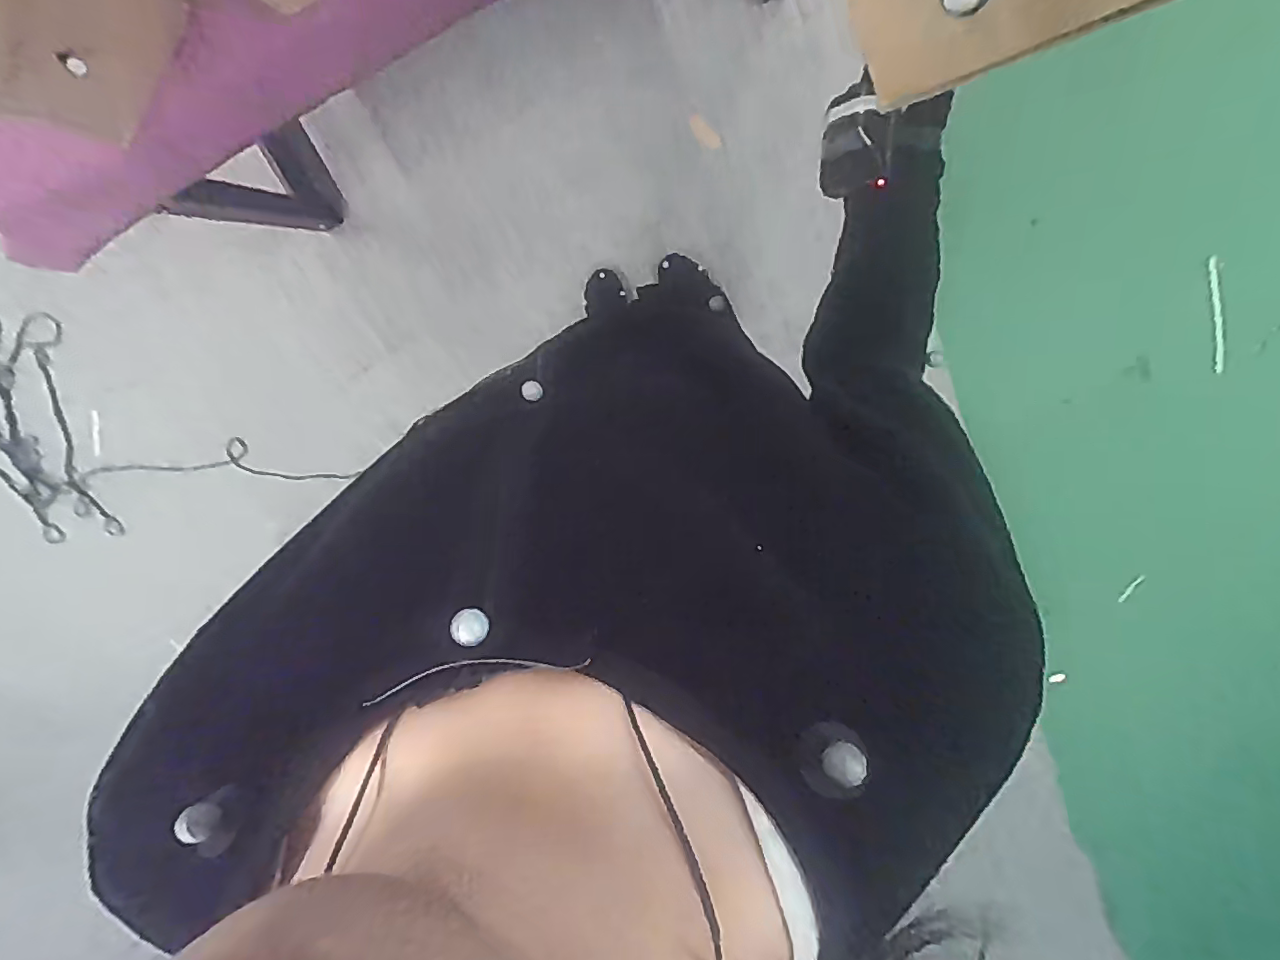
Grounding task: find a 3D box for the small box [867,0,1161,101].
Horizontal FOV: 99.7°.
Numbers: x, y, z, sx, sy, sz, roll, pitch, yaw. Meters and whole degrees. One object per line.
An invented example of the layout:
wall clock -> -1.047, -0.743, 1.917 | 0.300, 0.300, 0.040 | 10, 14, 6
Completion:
small box -> 0.175, -0.302, 0.199 | 0.179, 0.168, 0.176 | 2, 152, 41
